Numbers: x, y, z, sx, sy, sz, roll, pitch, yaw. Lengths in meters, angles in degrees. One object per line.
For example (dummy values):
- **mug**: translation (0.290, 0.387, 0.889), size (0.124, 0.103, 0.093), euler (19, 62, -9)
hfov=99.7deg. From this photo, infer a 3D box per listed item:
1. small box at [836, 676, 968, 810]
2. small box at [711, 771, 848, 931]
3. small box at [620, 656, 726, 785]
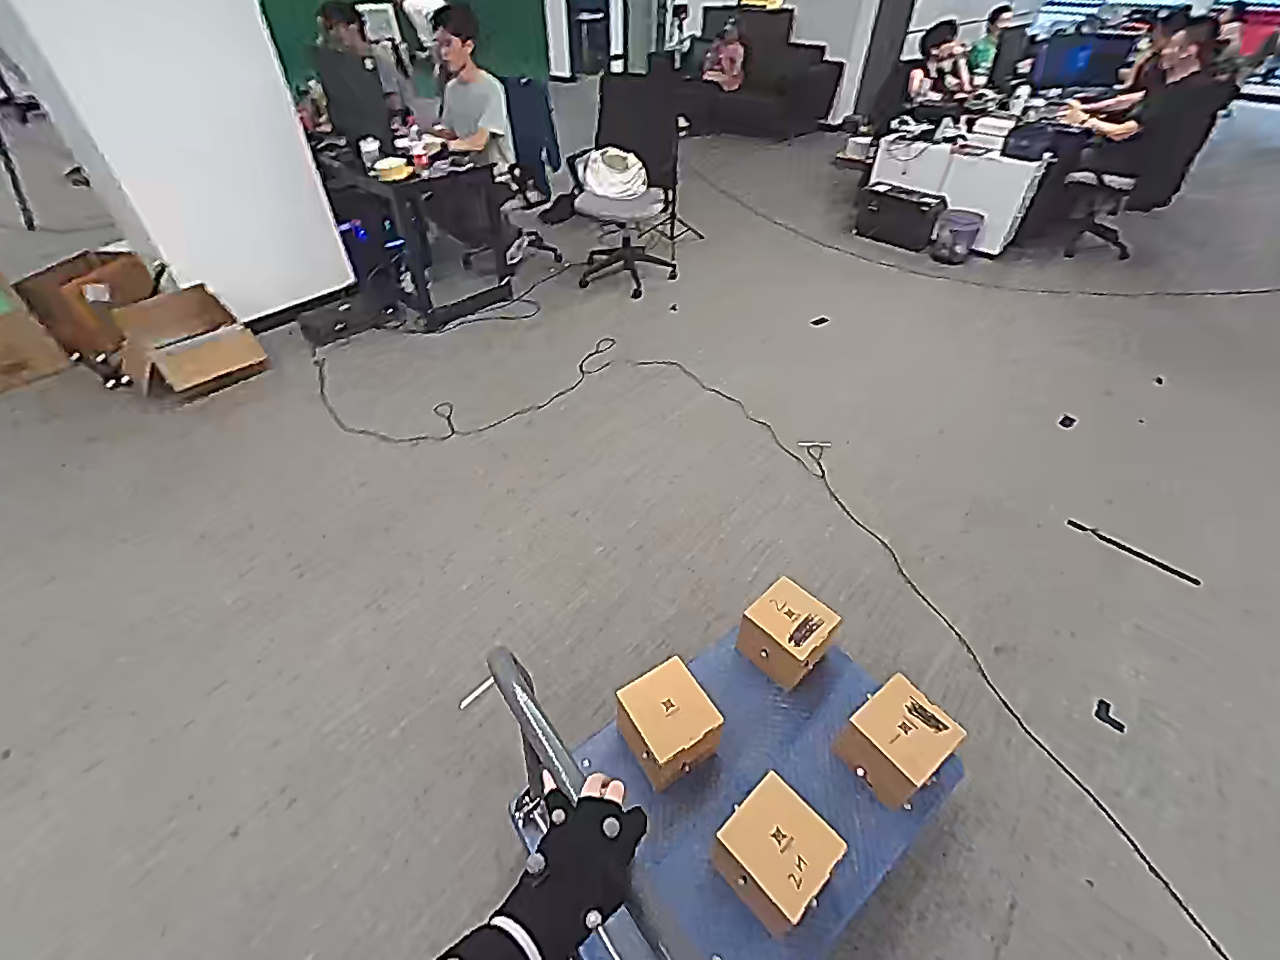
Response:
- **small box**: translation (0.555, 0.569, 1.169), size (0.179, 0.176, 0.168), euler (-27, 50, -25)
- **small box**: translation (0.253, 0.703, 1.024), size (0.168, 0.176, 0.179), euler (-31, 52, -28)
- **small box**: translation (0.063, 0.533, 1.197), size (0.168, 0.176, 0.179), euler (-23, 50, -24)
